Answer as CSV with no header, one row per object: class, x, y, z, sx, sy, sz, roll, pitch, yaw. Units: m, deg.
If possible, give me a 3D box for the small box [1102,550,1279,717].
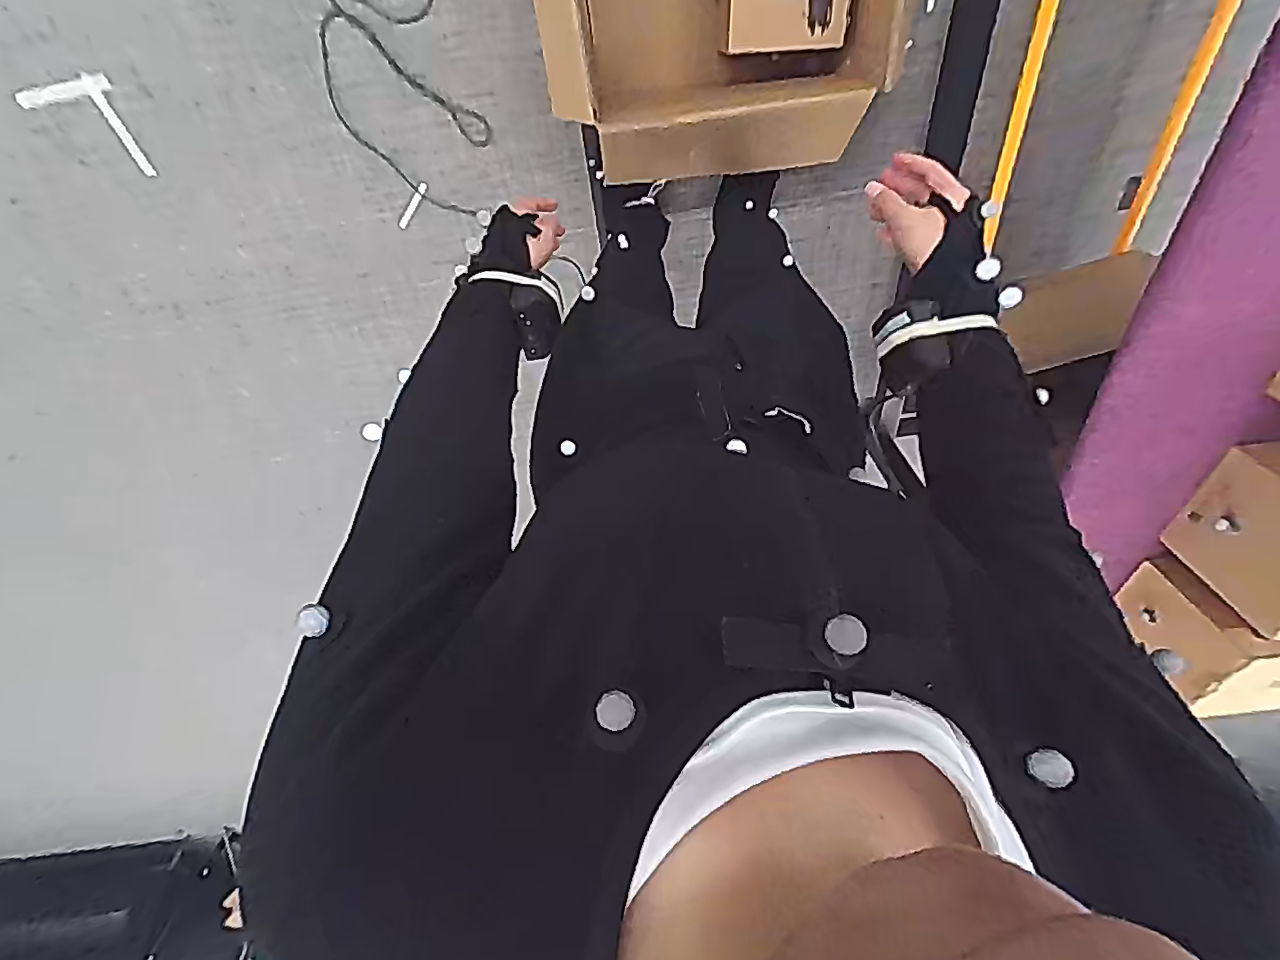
small box,0.838,0.215,0.776,0.179,0.176,0.168,-5,131,0
